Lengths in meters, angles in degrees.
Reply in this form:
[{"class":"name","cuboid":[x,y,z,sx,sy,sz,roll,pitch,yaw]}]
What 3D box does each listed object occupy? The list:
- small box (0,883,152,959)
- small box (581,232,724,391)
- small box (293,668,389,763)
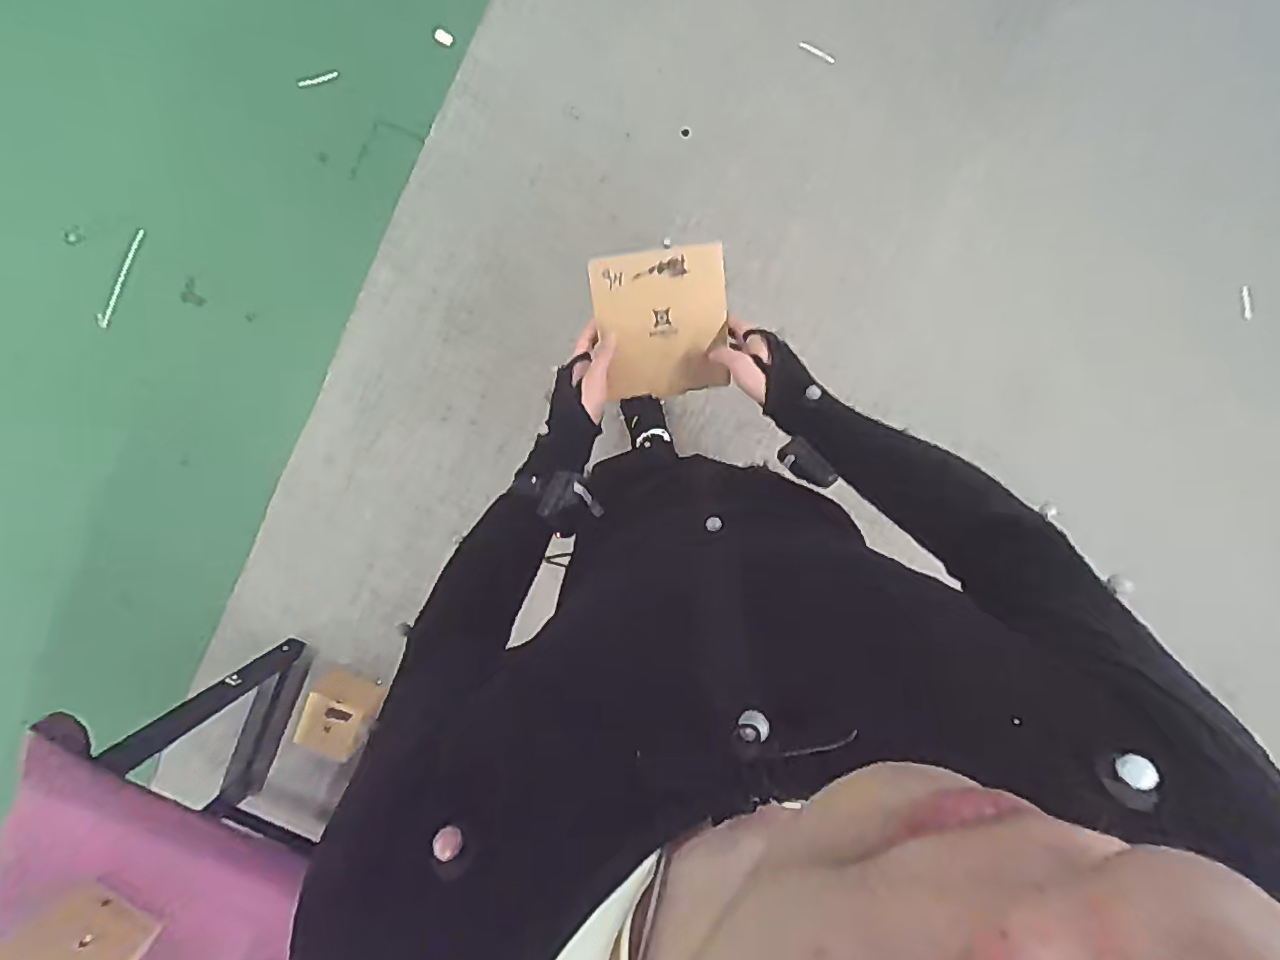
[{"class":"small box","cuboid":[-0.990,0.841,0.908,0.168,0.176,0.179,36,95,-3]},{"class":"small box","cuboid":[0.019,-0.231,0.735,0.168,0.176,0.179,-6,111,1]},{"class":"small box","cuboid":[-0.886,0.697,1.621,0.168,0.176,0.179,23,97,-1]}]
